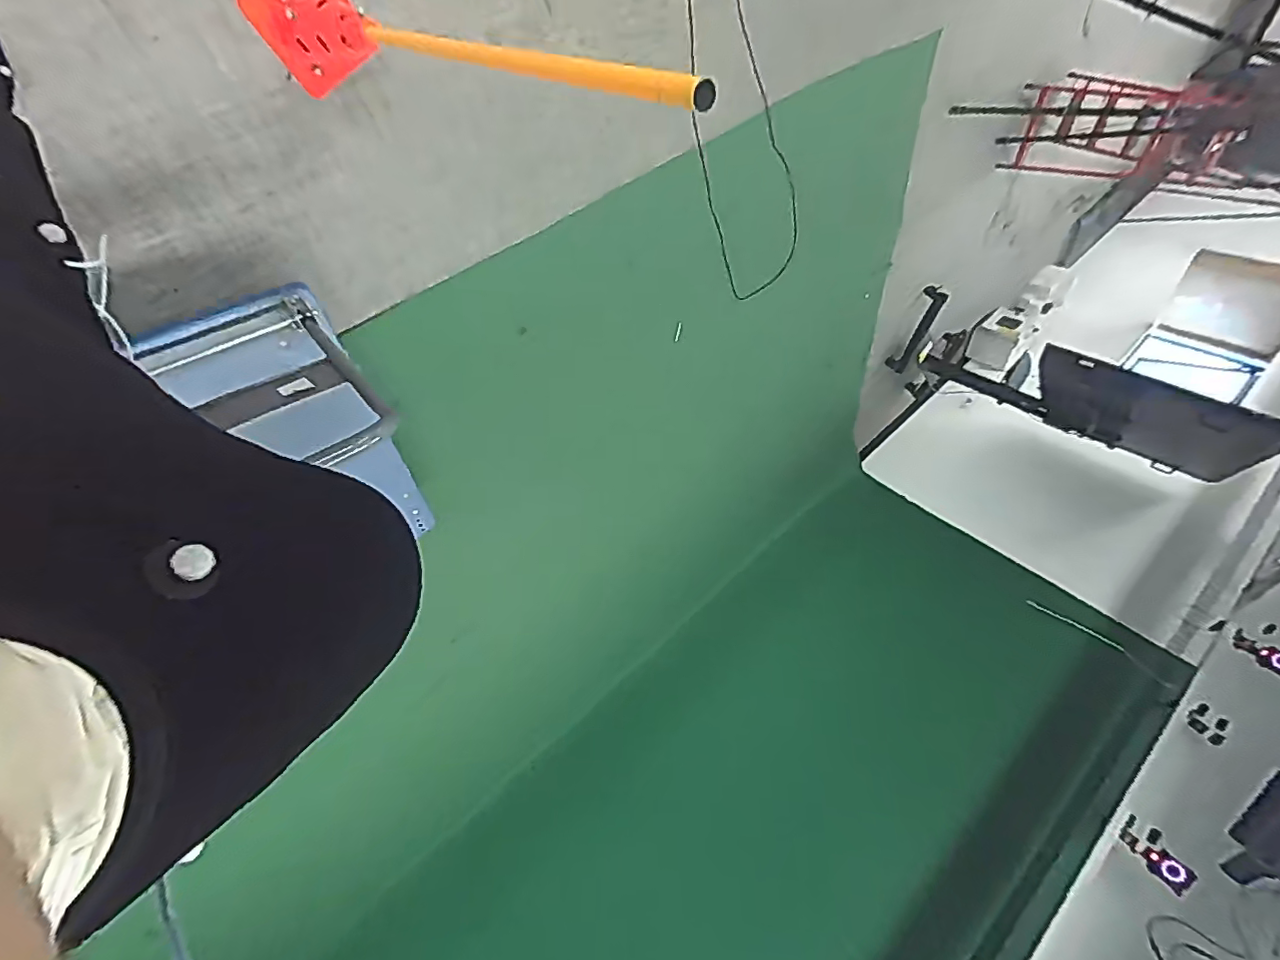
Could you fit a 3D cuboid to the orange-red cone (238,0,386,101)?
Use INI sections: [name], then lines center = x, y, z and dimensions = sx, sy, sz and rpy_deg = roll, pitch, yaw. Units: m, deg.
[orange-red cone]
center = -0.581, -0.863, 1.045
dimensions = 0.199, 0.360, 0.198
rpy_deg = -48, 147, -8
